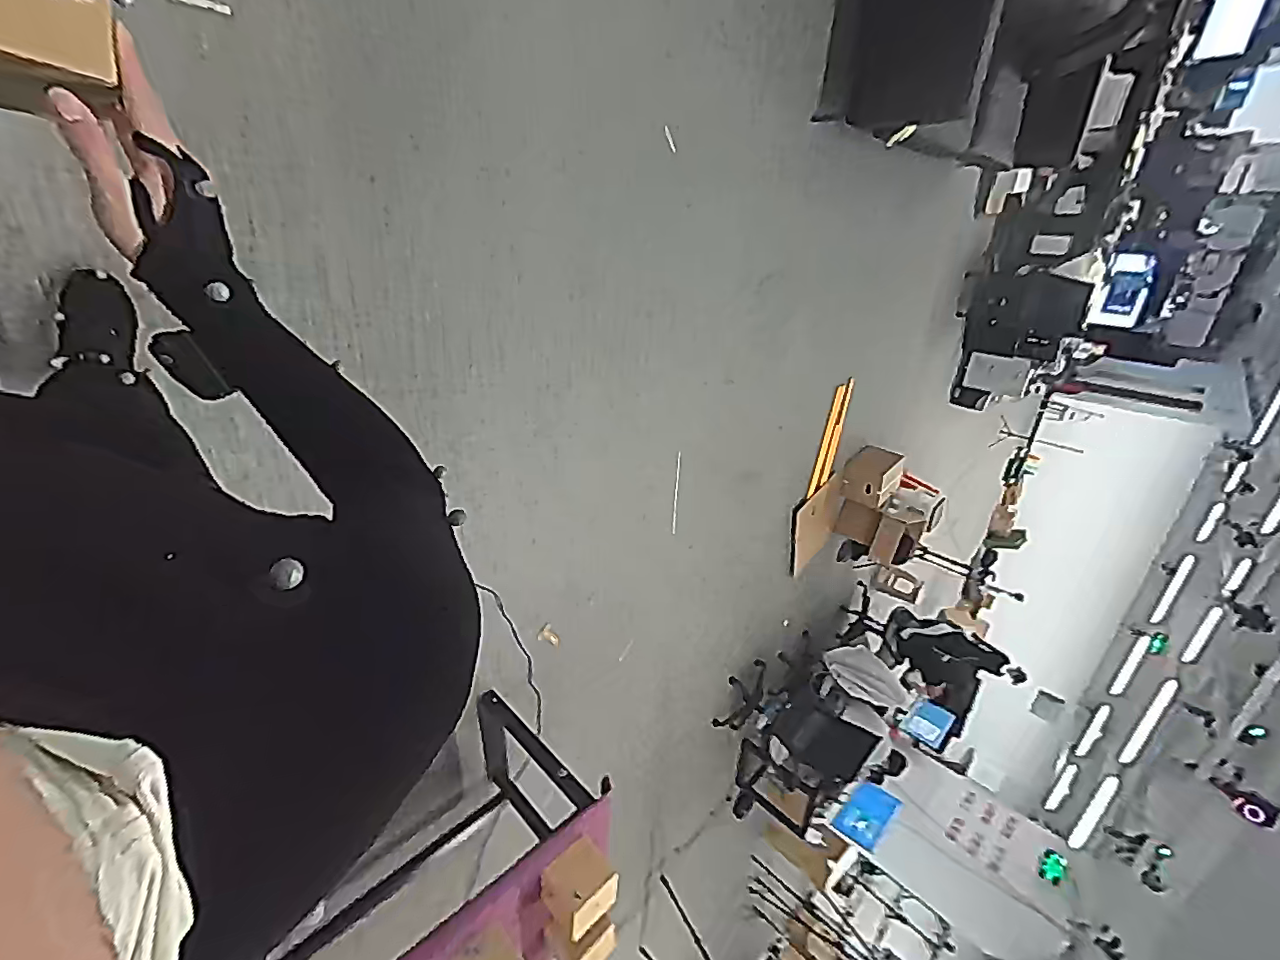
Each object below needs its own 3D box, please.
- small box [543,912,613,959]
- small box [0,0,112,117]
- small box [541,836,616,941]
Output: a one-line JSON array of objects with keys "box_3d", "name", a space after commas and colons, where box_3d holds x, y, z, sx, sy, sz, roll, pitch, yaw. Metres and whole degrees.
[{"box_3d": [-0.211, 1.563, 1.860, 0.179, 0.176, 0.168, -24, 126, -38], "name": "small box"}, {"box_3d": [-0.462, -0.360, 0.339, 0.179, 0.176, 0.168, -6, 108, -43], "name": "small box"}, {"box_3d": [-0.199, 1.301, 1.736, 0.179, 0.176, 0.168, -20, 125, -40], "name": "small box"}]
